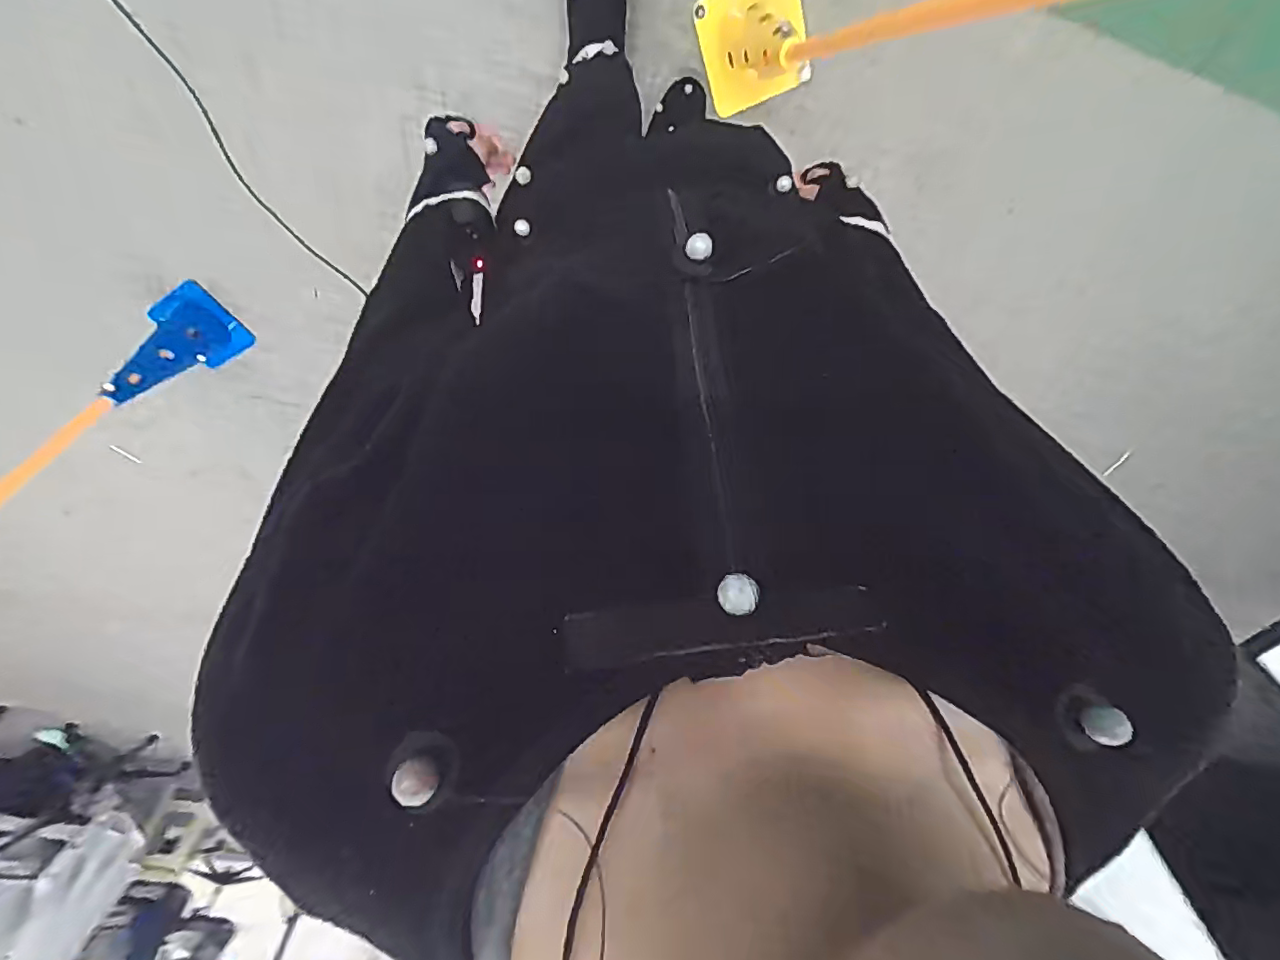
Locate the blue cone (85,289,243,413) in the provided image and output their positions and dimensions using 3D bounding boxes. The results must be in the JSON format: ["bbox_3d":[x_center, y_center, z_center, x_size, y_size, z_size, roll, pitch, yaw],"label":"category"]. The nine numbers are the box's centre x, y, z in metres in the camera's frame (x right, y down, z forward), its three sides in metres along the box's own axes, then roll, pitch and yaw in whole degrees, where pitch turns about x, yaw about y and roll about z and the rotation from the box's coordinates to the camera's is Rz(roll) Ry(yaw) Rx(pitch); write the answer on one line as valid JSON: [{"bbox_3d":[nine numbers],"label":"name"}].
[{"bbox_3d":[-1.186,-0.281,1.322,0.193,0.380,0.192,-22,129,20],"label":"blue cone"}]
